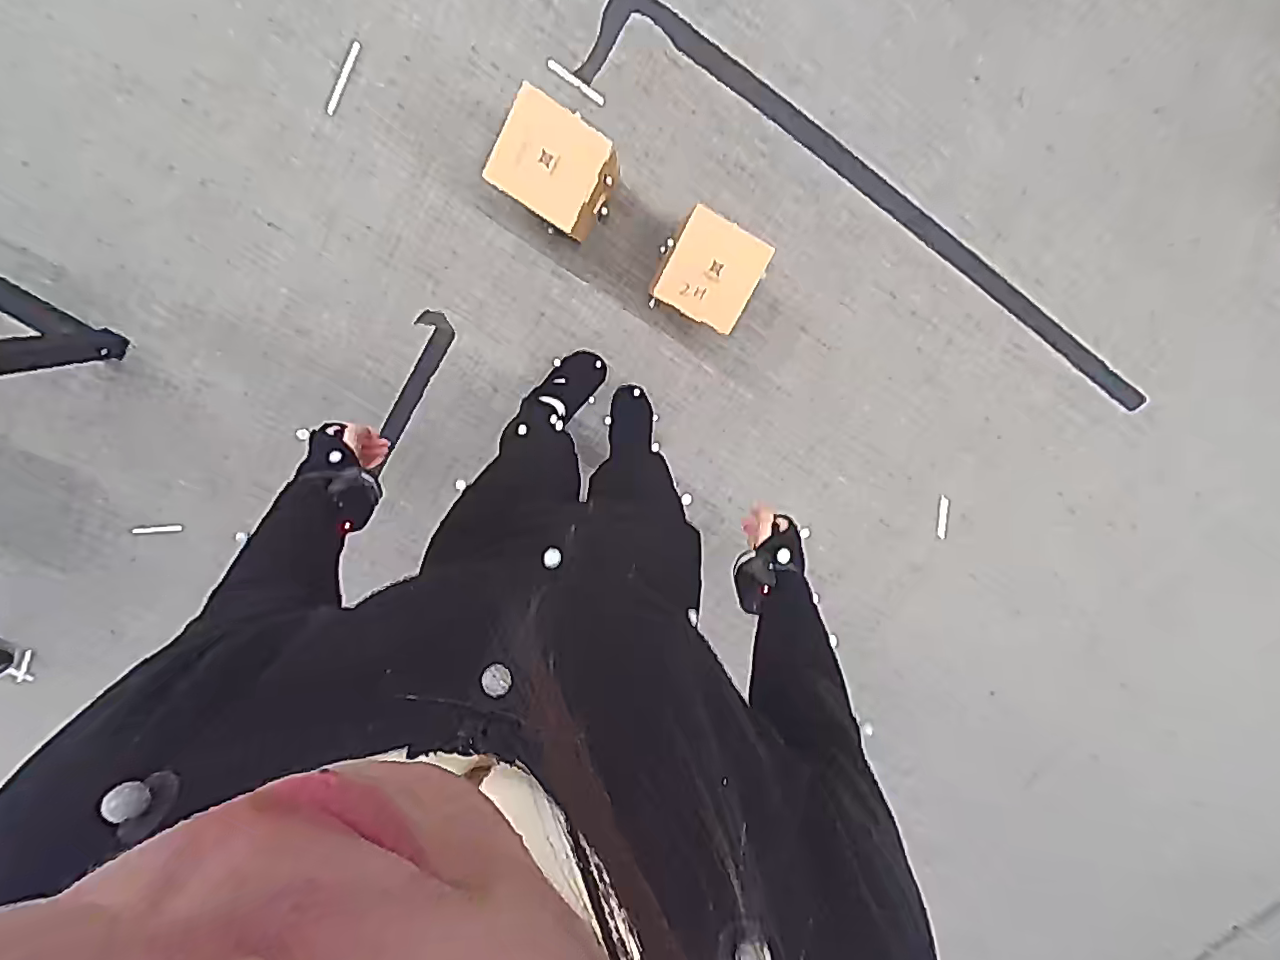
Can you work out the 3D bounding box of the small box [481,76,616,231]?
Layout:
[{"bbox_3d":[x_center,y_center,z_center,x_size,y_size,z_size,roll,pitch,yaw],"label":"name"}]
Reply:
[{"bbox_3d":[-0.155,-0.574,0.980,0.179,0.176,0.168,30,107,-11],"label":"small box"}]

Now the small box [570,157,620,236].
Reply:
[{"bbox_3d":[-0.156,-0.635,1.133,0.179,0.176,0.168,31,107,-13],"label":"small box"}]

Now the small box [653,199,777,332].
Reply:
[{"bbox_3d":[0.133,-0.411,1.050,0.168,0.176,0.179,26,108,-10],"label":"small box"}]
